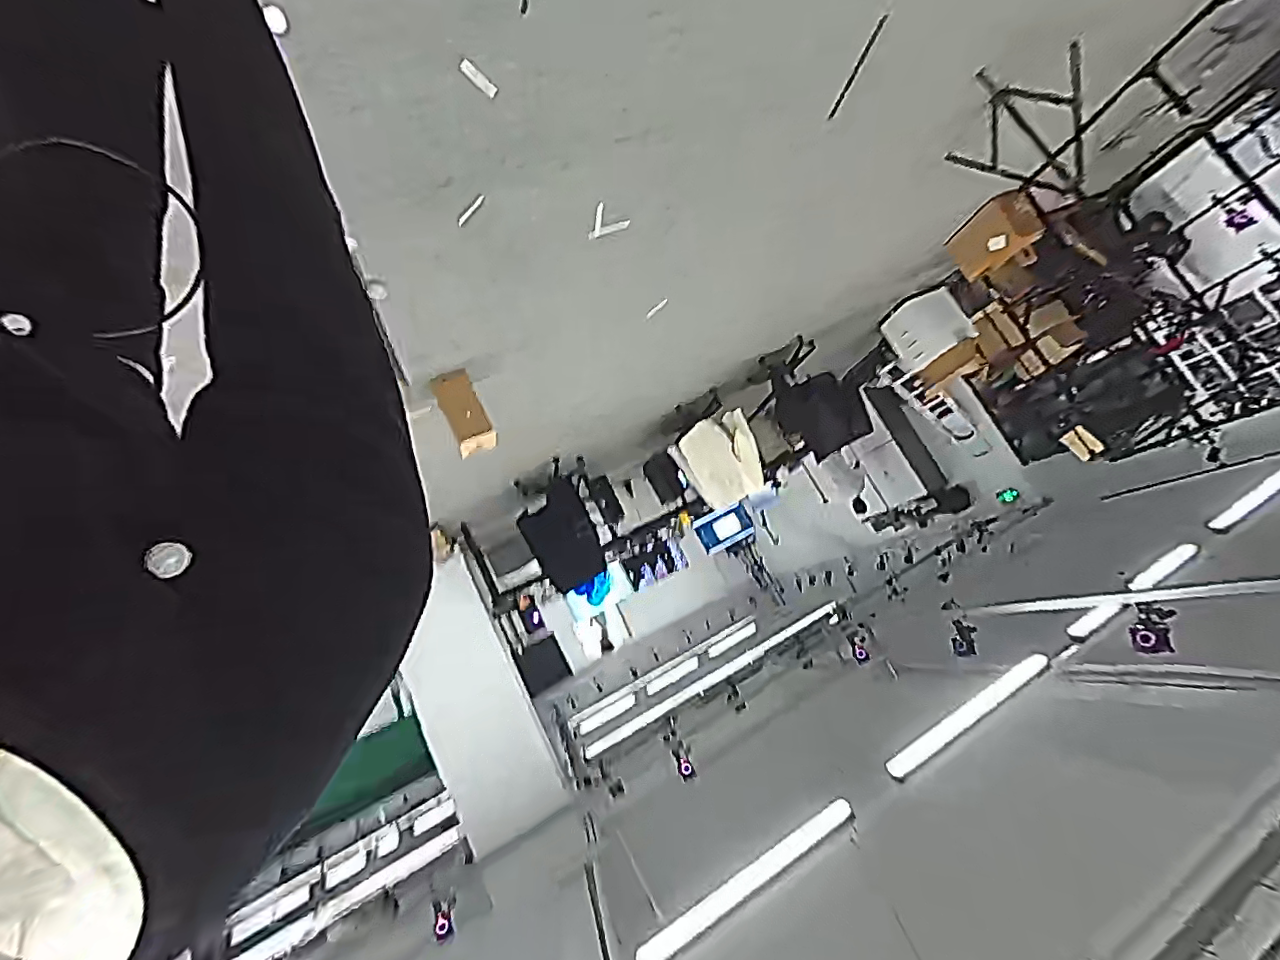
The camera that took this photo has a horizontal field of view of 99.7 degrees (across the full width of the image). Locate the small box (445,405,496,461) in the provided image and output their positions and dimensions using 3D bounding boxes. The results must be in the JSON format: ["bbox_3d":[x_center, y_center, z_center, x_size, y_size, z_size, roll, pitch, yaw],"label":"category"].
[{"bbox_3d":[-0.768,-0.216,2.458,0.168,0.176,0.179,-25,167,-20],"label":"small box"}]

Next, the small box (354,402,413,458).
[{"bbox_3d":[-1.131,-0.225,2.384,0.168,0.176,0.179,-26,169,-15],"label":"small box"}]
